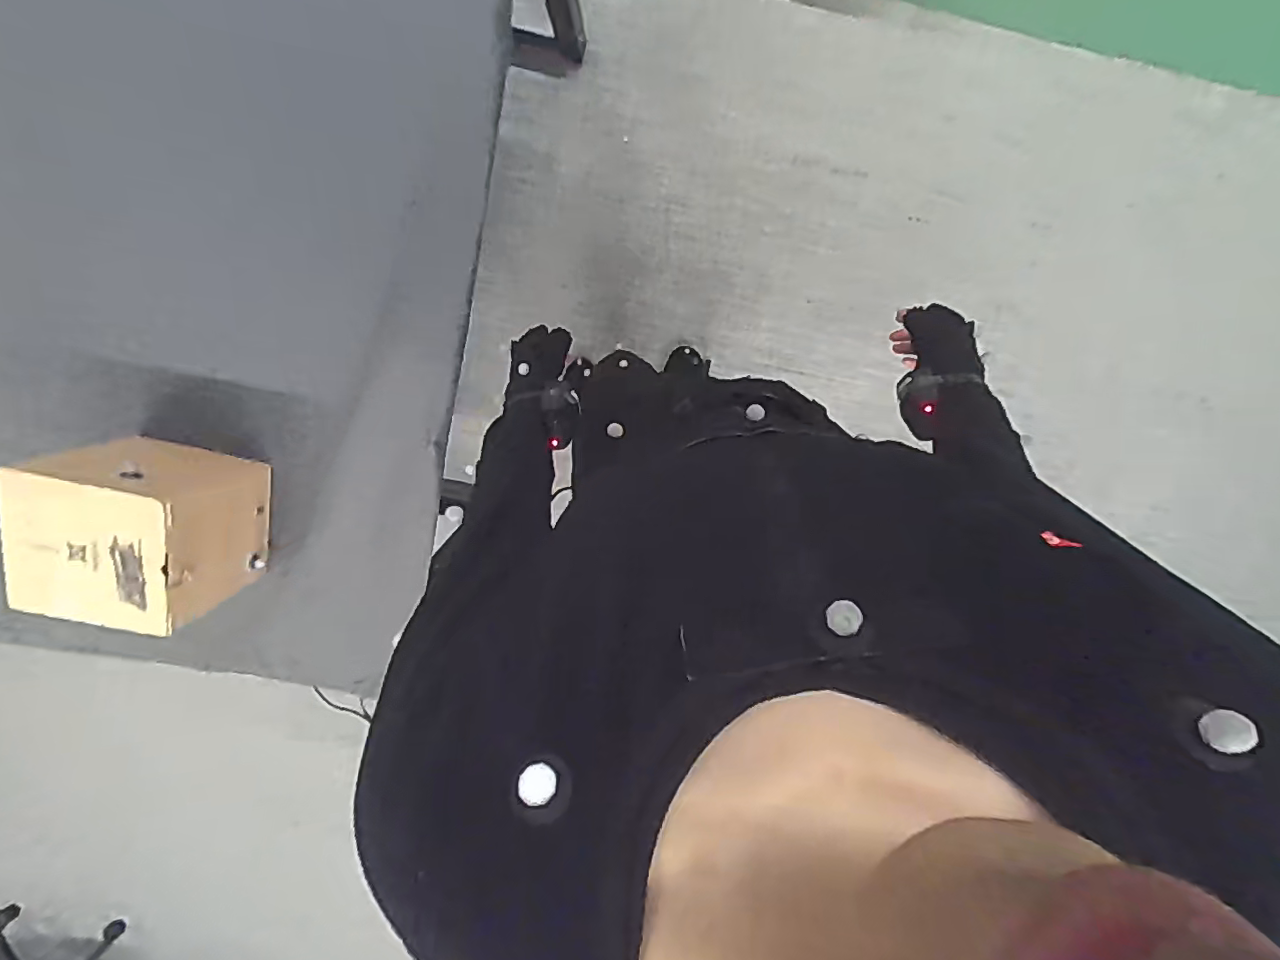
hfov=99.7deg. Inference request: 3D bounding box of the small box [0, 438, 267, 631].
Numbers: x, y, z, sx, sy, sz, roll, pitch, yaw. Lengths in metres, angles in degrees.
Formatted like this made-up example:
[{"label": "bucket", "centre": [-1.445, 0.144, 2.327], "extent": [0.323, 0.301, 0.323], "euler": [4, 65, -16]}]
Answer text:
[{"label": "small box", "centre": [-0.592, 0.055, 0.657], "extent": [0.179, 0.176, 0.168], "euler": [12, 105, -3]}]
